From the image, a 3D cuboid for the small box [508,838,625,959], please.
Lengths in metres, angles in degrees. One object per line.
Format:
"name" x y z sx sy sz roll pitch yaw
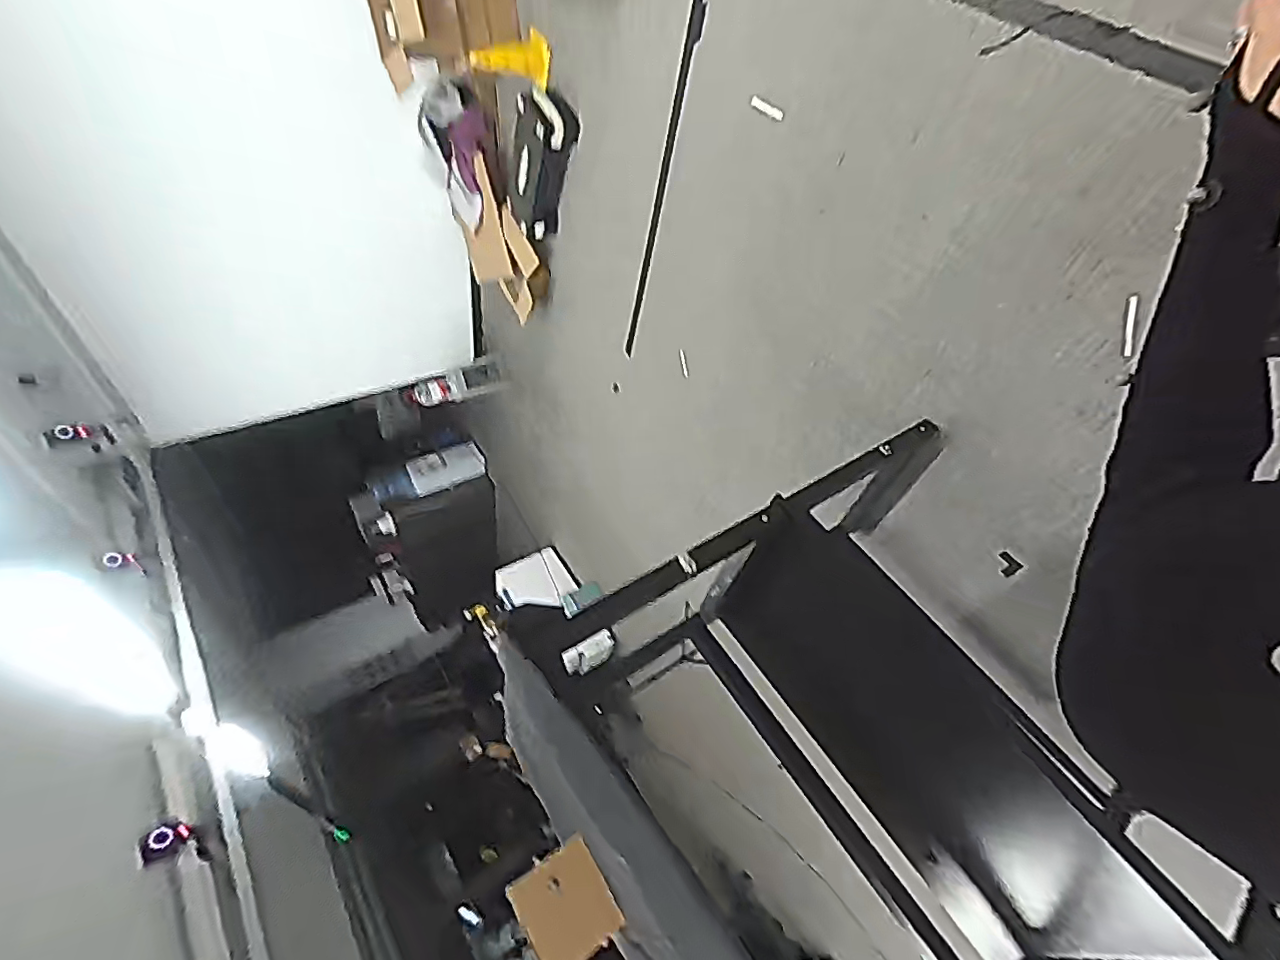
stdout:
"small box" -0.155 0.866 1.105 0.179 0.176 0.168 52 149 25
